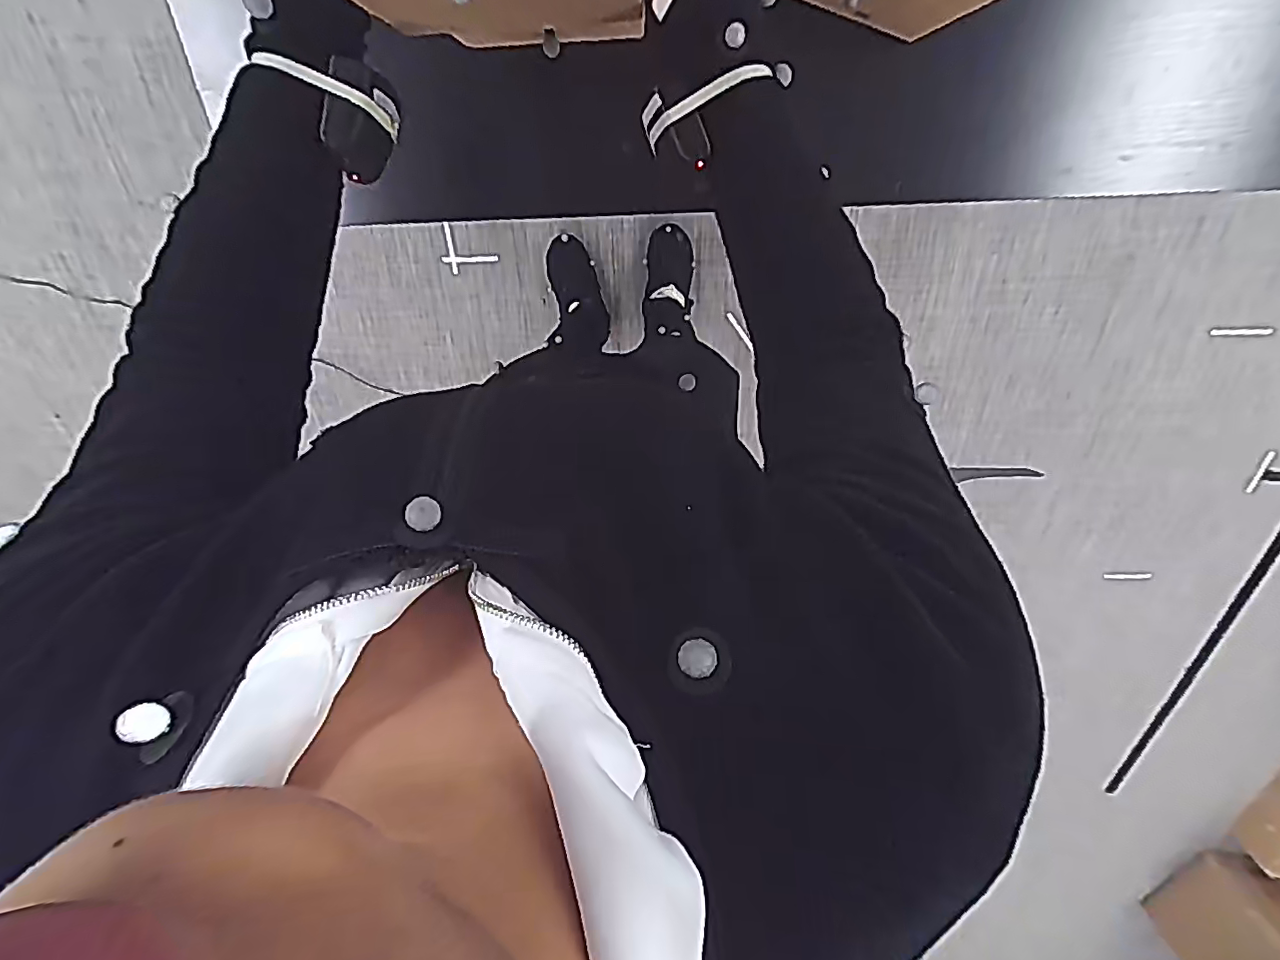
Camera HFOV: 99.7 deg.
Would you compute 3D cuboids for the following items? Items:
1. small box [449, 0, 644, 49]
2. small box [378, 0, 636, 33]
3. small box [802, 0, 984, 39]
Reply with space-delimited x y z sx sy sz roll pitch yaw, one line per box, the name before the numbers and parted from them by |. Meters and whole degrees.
small box | -0.088 -0.464 0.429 0.179 0.176 0.168 -3 119 1
small box | -0.089 -0.367 0.293 0.179 0.176 0.168 -3 119 1
small box | 0.206 -0.483 0.417 0.168 0.176 0.179 14 117 -8
